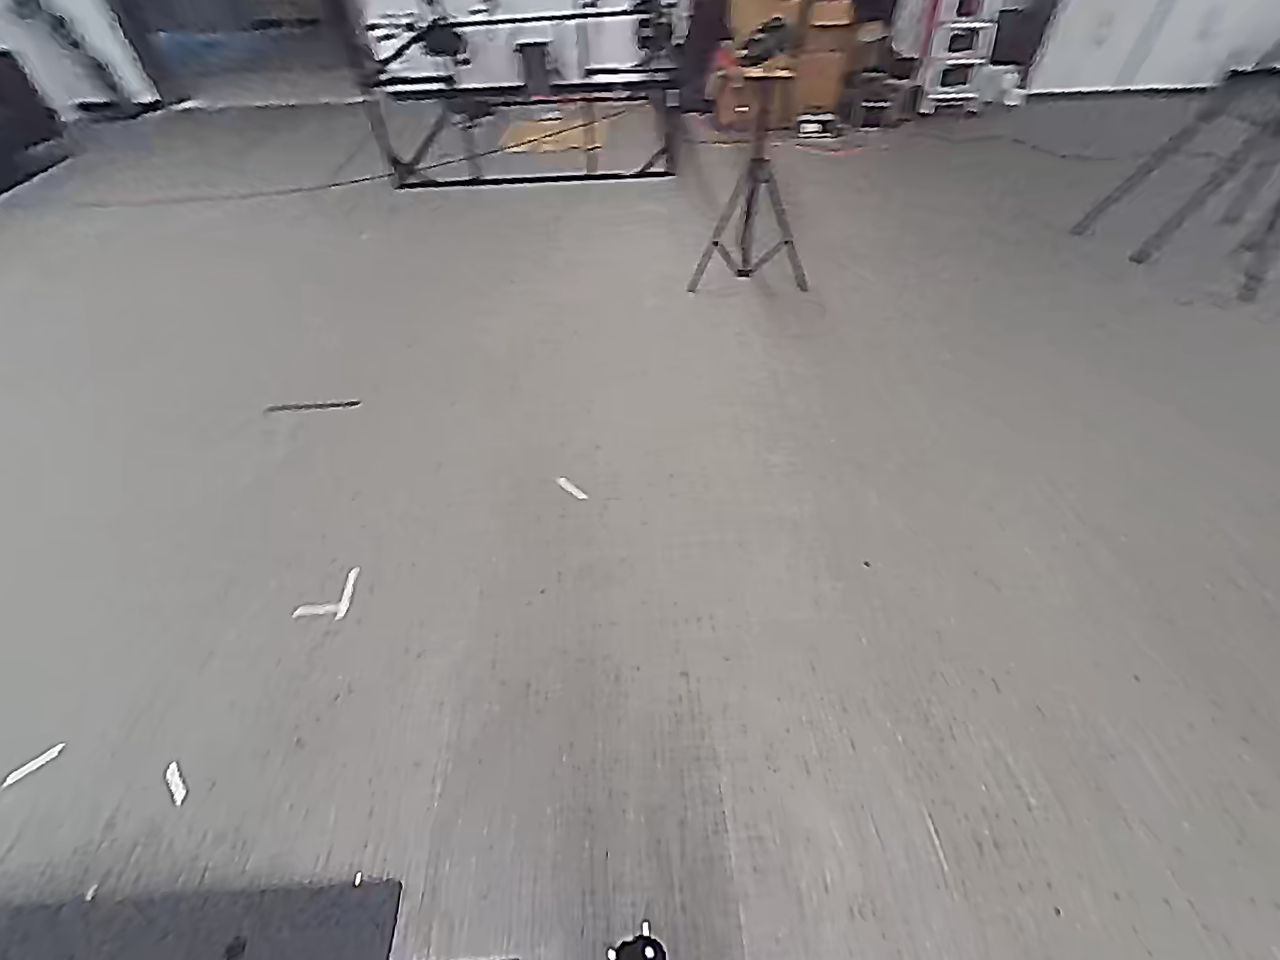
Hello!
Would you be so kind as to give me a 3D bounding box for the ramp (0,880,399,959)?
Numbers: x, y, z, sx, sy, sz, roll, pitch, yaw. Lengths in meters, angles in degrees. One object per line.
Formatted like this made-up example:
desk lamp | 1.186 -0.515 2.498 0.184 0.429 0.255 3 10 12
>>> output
ramp | -1.008 1.039 0.969 0.991 0.206 0.509 -4 47 -2
